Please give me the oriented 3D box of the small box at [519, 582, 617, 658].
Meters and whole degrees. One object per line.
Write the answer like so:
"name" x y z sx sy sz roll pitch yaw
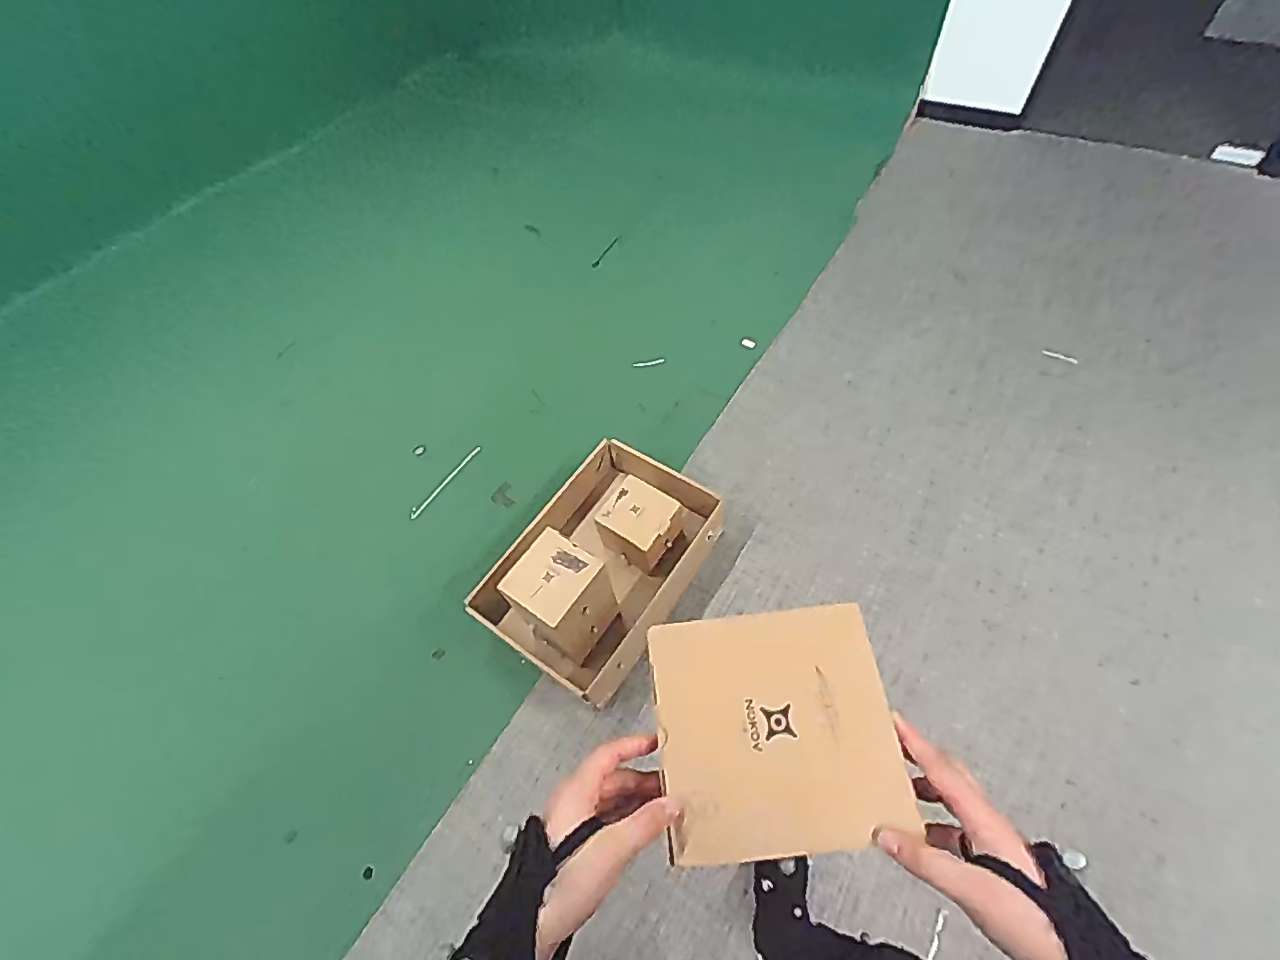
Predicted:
"small box" -0.170 0.318 1.355 0.168 0.176 0.179 29 63 20

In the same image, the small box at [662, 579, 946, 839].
"small box" 0.119 0.199 0.471 0.179 0.176 0.168 -8 62 0

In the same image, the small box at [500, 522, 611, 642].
"small box" -0.178 0.232 1.215 0.168 0.176 0.179 29 65 21
